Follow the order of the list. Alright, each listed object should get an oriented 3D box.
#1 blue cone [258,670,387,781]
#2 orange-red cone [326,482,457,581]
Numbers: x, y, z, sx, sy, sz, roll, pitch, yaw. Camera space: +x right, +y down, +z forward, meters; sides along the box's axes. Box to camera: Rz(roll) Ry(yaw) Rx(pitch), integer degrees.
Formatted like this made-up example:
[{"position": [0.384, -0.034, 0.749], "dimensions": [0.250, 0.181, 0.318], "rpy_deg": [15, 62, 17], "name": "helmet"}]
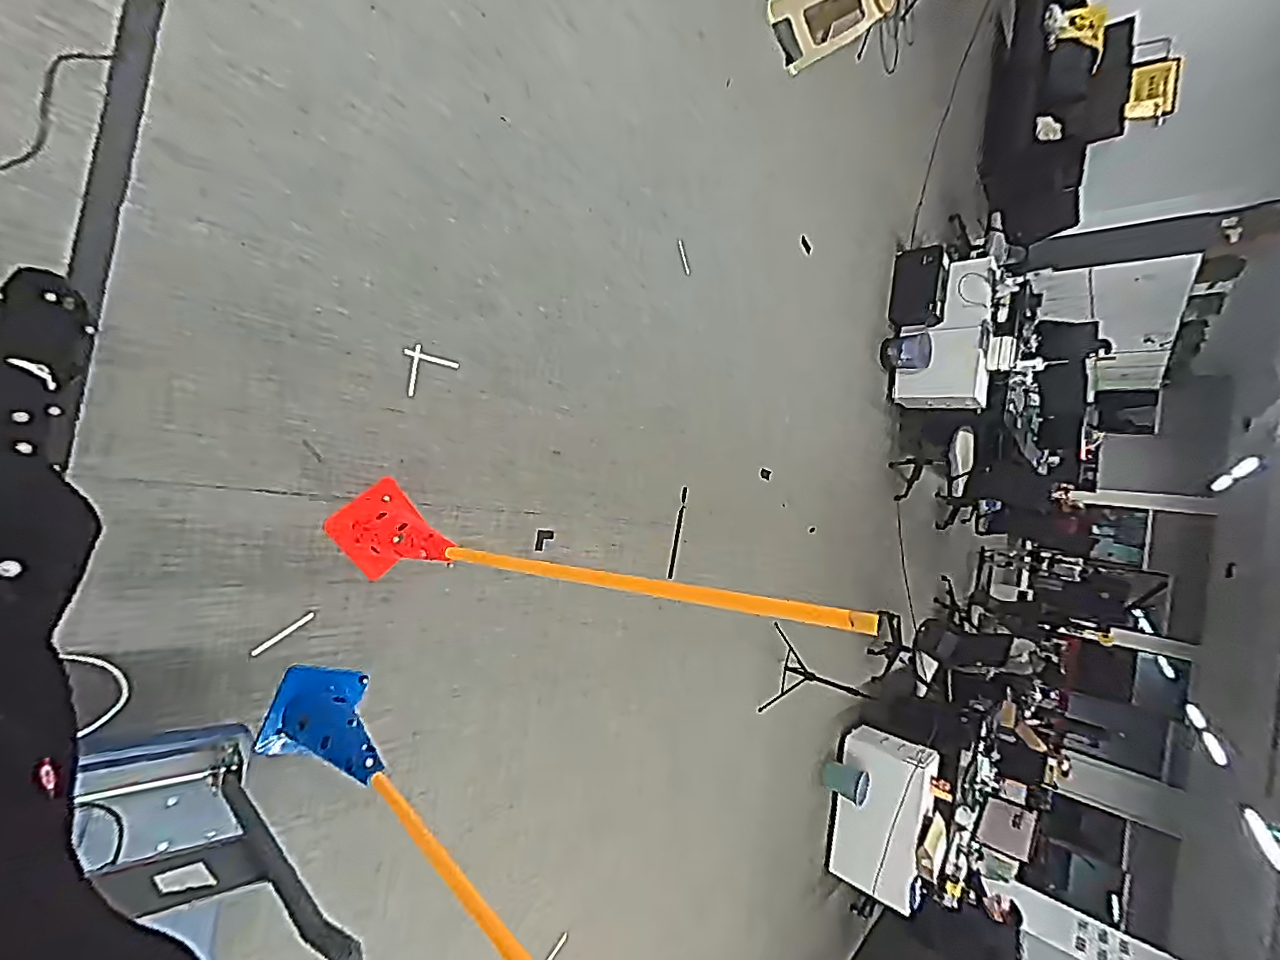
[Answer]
[{"position": [-0.651, 0.564, 1.170], "dimensions": [0.193, 0.380, 0.192], "rpy_deg": [33, 69, -46], "name": "blue cone"}, {"position": [-0.525, 0.144, 1.238], "dimensions": [0.199, 0.360, 0.198], "rpy_deg": [-46, 126, -33], "name": "orange-red cone"}]
